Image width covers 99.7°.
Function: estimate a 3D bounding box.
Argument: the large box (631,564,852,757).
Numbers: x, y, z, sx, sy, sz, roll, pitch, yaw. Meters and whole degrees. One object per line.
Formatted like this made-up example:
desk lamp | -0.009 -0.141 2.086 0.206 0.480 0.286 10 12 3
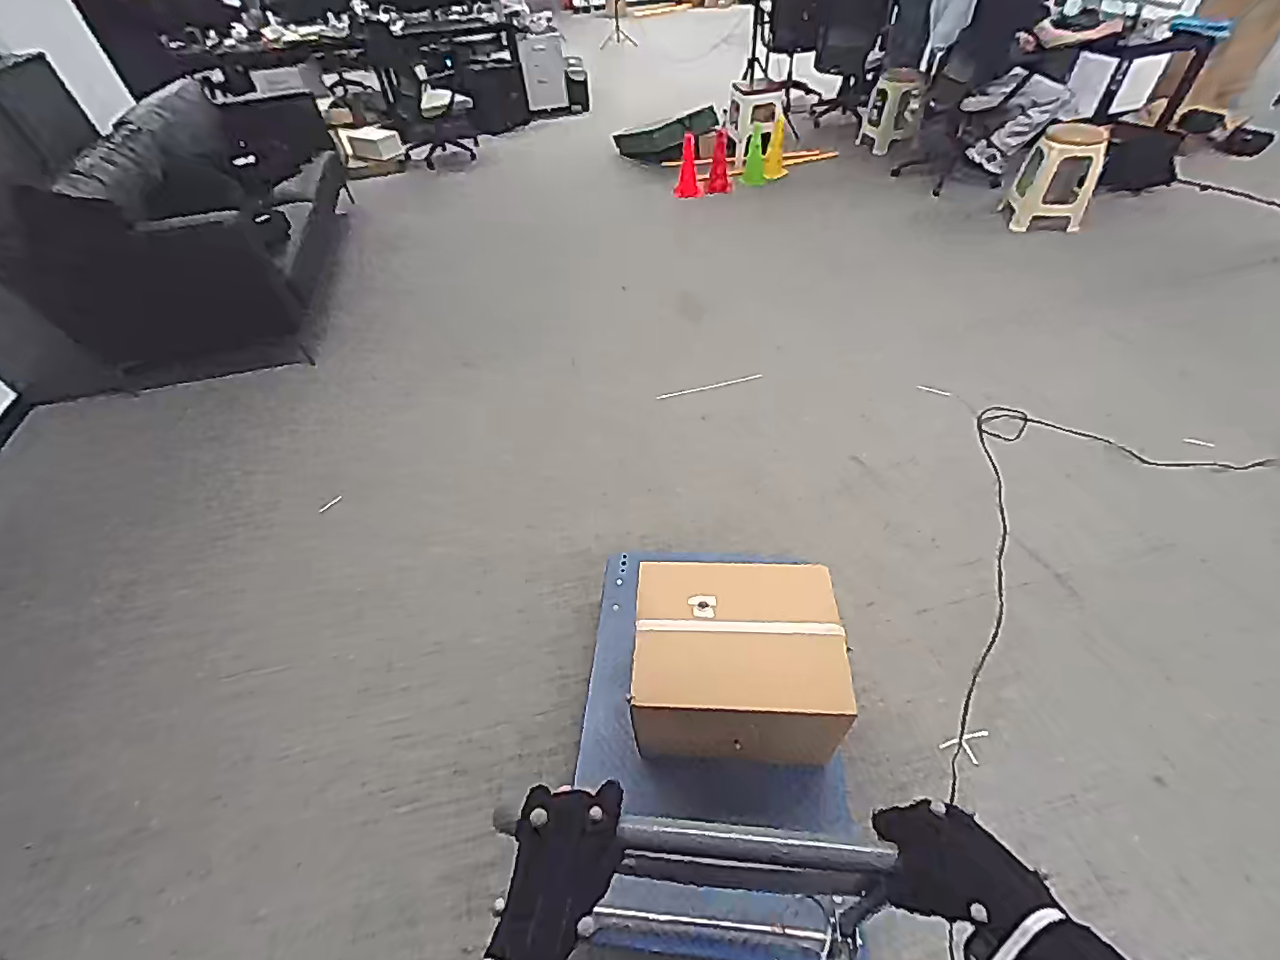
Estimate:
large box | 0.202 0.399 1.185 0.408 0.320 0.320 -1 47 6
